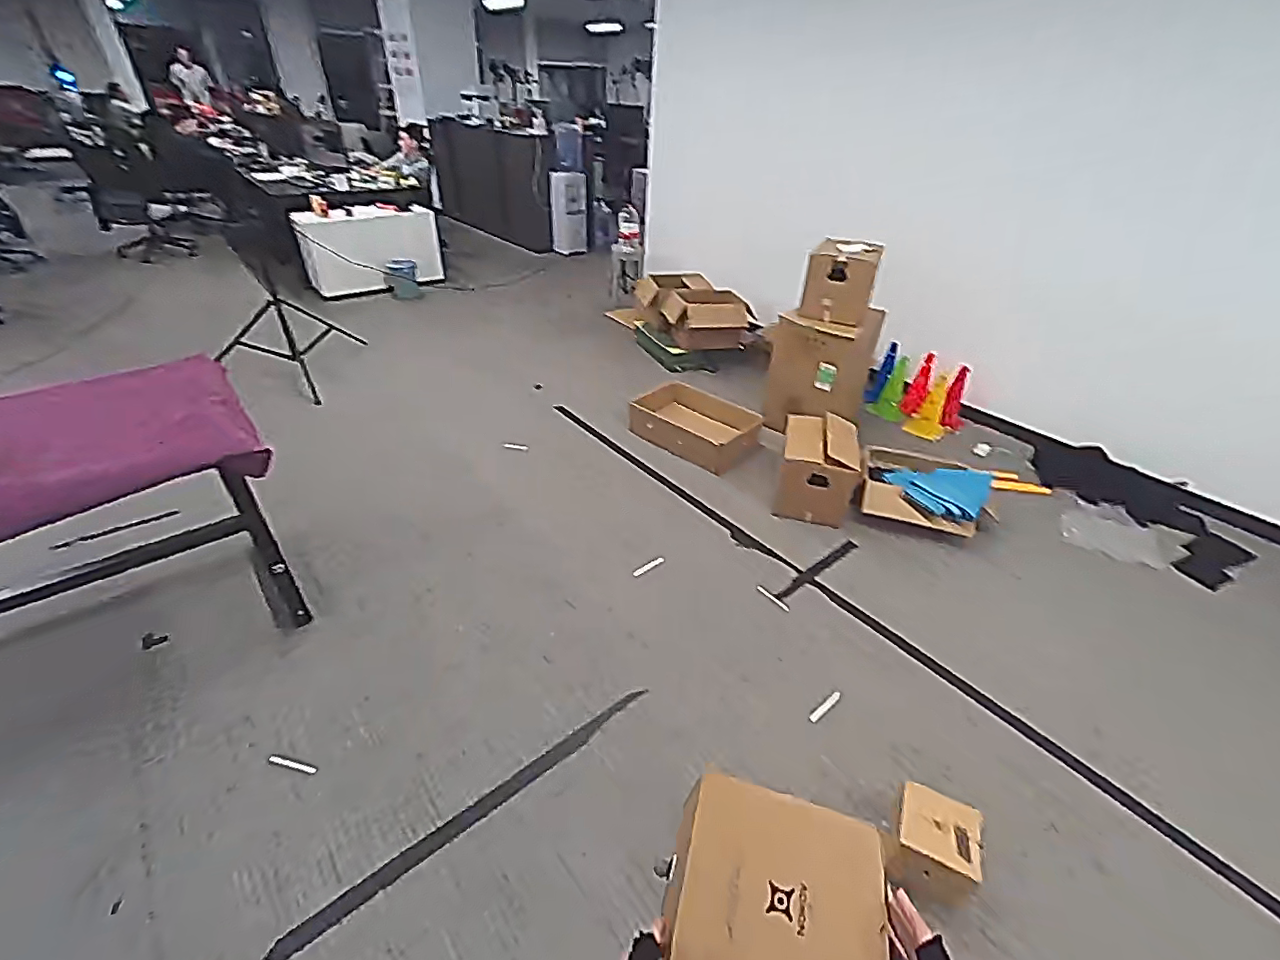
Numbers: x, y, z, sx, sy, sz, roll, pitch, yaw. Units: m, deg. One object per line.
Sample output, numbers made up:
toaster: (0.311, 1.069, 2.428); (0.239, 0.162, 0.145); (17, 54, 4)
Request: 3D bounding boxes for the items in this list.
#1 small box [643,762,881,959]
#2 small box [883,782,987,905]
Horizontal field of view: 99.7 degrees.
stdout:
small box: (0.109, 0.400, 0.511); (0.179, 0.176, 0.168); (13, 46, 8)
small box: (0.714, 0.885, 1.312); (0.179, 0.176, 0.168); (18, 38, 21)
